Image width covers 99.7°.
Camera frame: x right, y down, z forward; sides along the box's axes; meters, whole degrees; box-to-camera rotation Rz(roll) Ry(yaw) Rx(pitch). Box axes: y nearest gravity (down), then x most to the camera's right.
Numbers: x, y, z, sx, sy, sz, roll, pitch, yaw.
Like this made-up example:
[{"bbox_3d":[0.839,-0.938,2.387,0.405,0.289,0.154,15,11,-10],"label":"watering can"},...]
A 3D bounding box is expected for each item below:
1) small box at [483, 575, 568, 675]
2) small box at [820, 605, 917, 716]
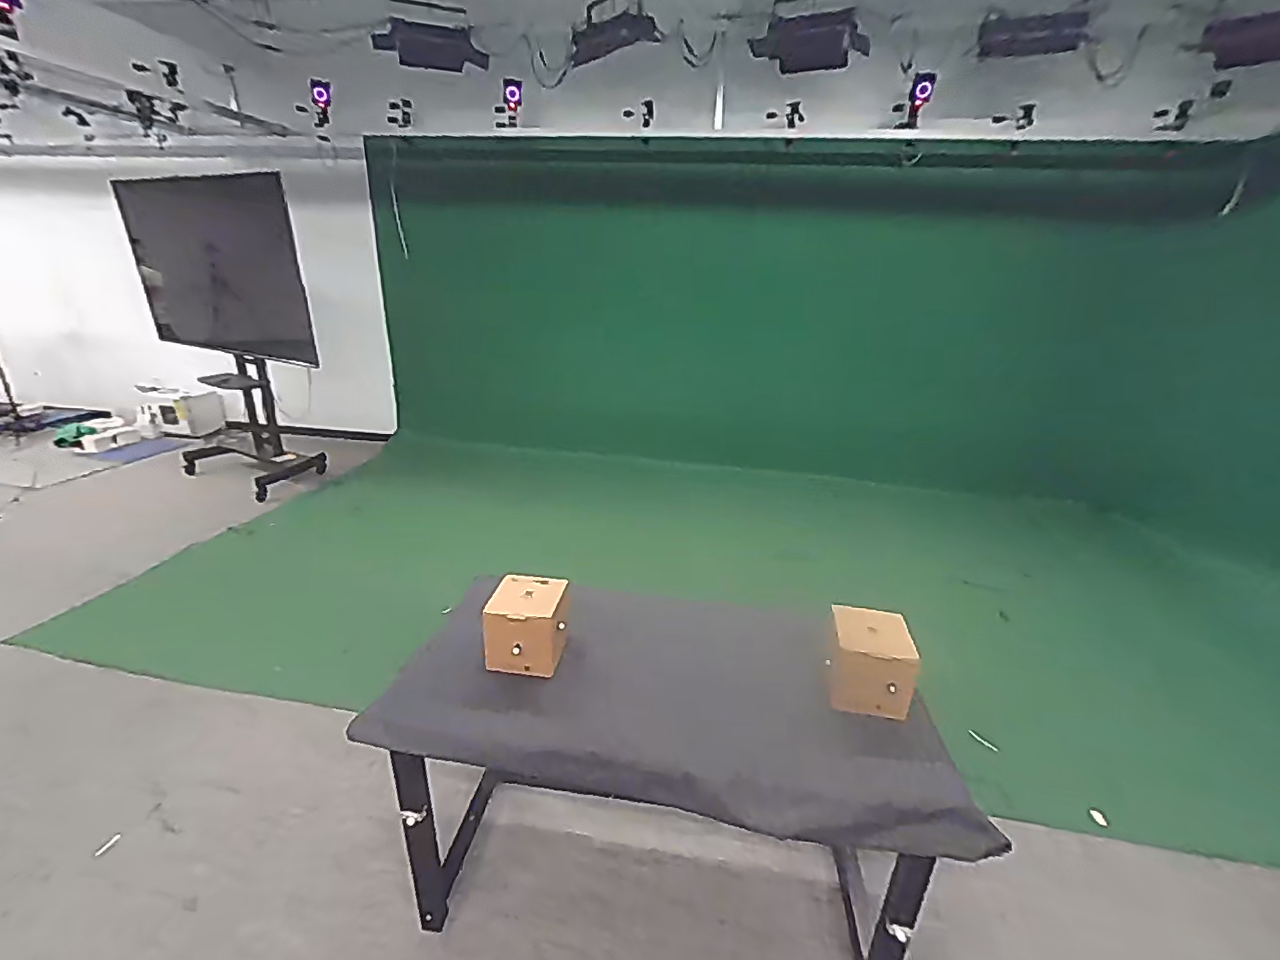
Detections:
[{"bbox_3d":[-0.277,0.361,1.348,0.168,0.176,0.179,5,21,5],"label":"small box"},{"bbox_3d":[0.525,0.421,1.265,0.168,0.176,0.179,7,20,9],"label":"small box"}]
